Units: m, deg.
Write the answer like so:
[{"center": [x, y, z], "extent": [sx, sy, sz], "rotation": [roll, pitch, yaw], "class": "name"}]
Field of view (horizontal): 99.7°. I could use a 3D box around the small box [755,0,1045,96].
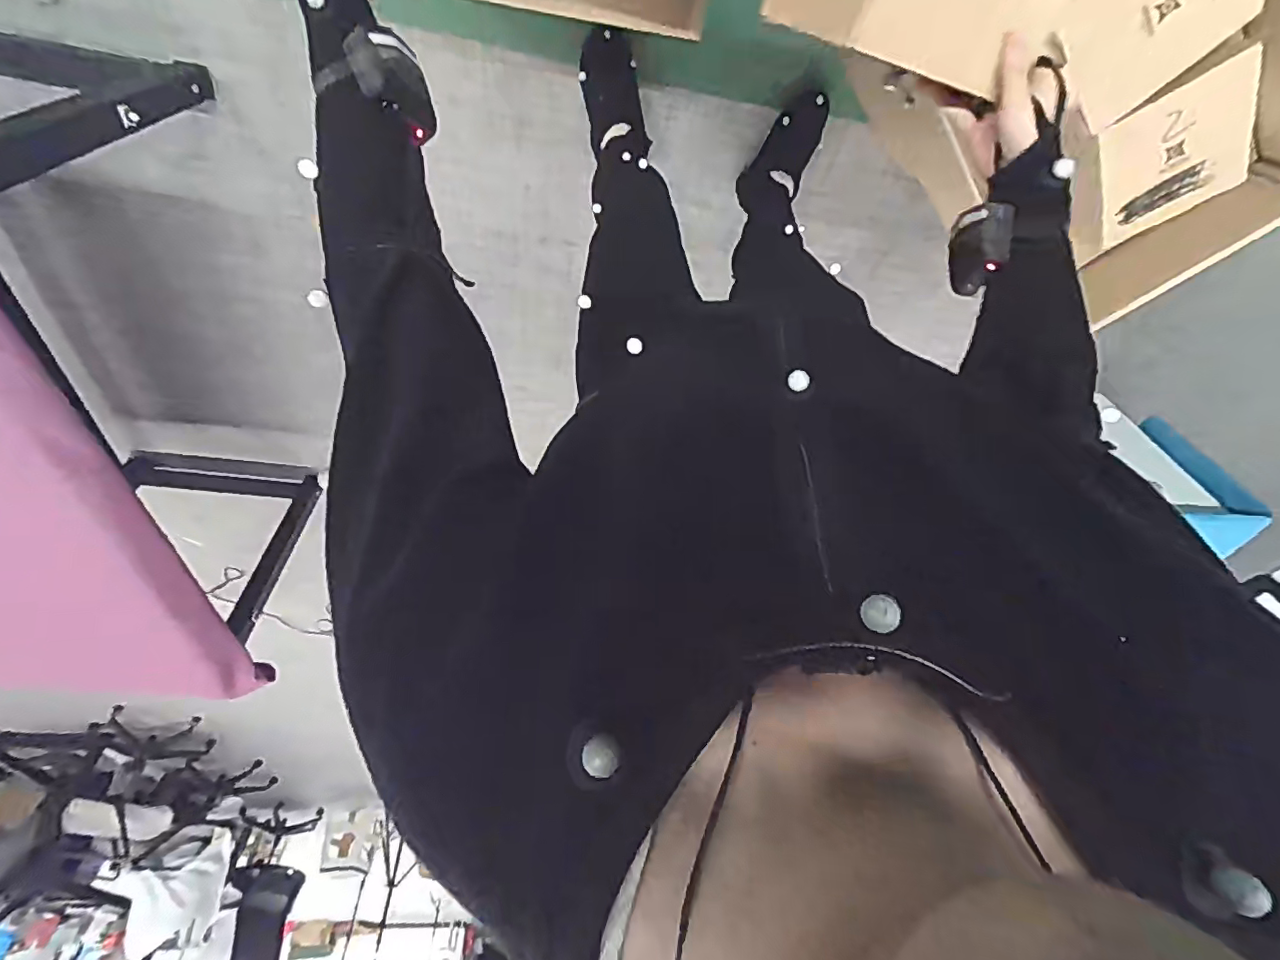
[{"center": [0.225, -0.447, 0.440], "extent": [0.179, 0.176, 0.168], "rotation": [0, 134, -20], "class": "small box"}]
